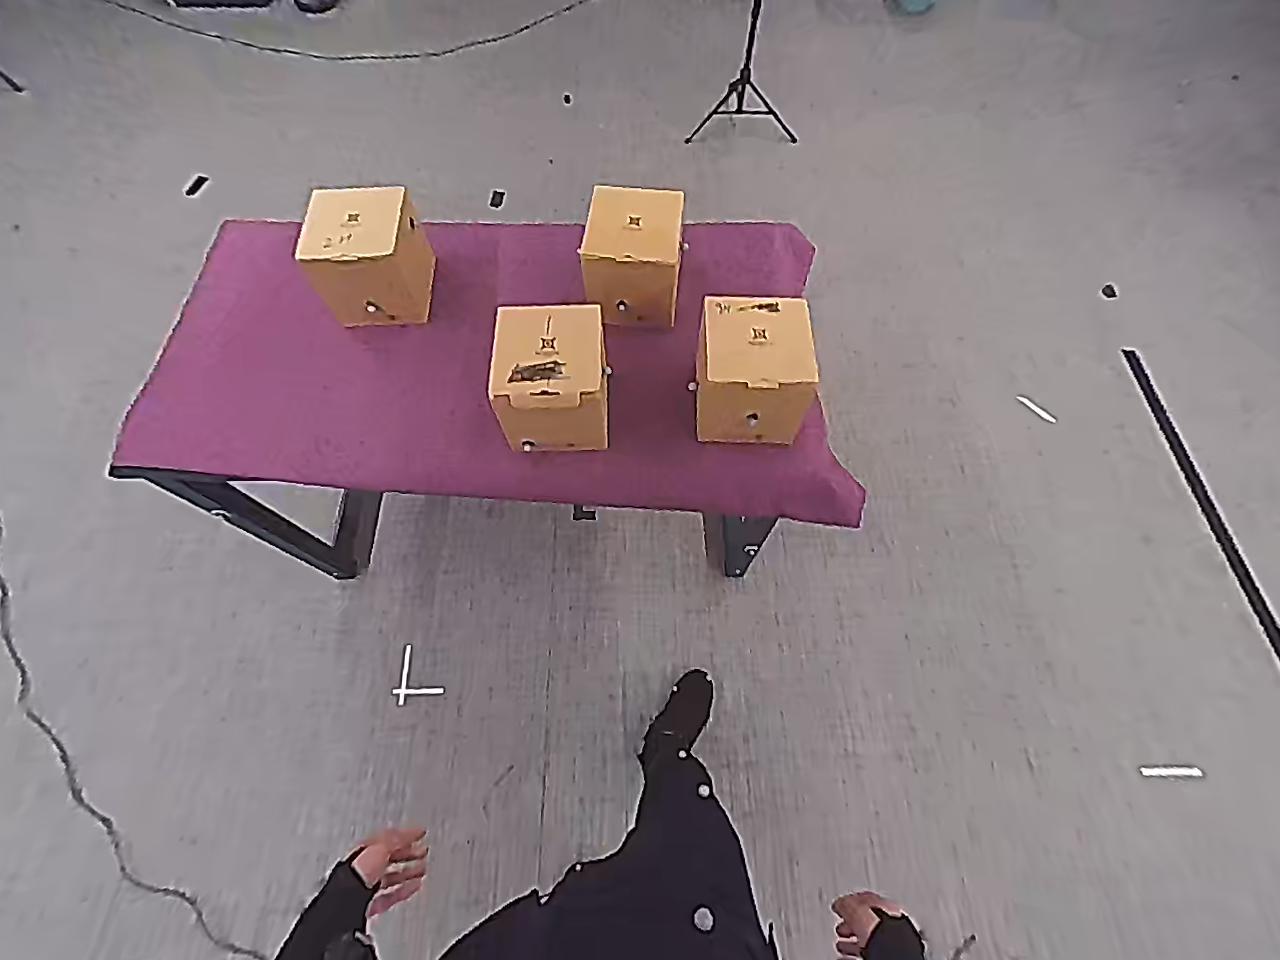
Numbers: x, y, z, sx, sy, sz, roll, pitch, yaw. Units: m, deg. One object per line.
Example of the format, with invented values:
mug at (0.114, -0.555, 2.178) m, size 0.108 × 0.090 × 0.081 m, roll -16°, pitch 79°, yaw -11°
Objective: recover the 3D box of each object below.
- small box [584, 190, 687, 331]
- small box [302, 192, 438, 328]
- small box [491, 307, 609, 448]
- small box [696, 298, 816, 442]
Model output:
small box at (-0.006, -0.411, 1.023) m, size 0.168 × 0.176 × 0.179 m, roll 6°, pitch 66°, yaw 3°
small box at (-0.494, -0.411, 1.022) m, size 0.168 × 0.176 × 0.179 m, roll -3°, pitch 65°, yaw -1°
small box at (-0.138, -0.162, 0.899) m, size 0.168 × 0.176 × 0.179 m, roll -1°, pitch 63°, yaw -1°
small box at (0.185, -0.178, 0.904) m, size 0.168 × 0.176 × 0.179 m, roll 2°, pitch 63°, yaw 2°
